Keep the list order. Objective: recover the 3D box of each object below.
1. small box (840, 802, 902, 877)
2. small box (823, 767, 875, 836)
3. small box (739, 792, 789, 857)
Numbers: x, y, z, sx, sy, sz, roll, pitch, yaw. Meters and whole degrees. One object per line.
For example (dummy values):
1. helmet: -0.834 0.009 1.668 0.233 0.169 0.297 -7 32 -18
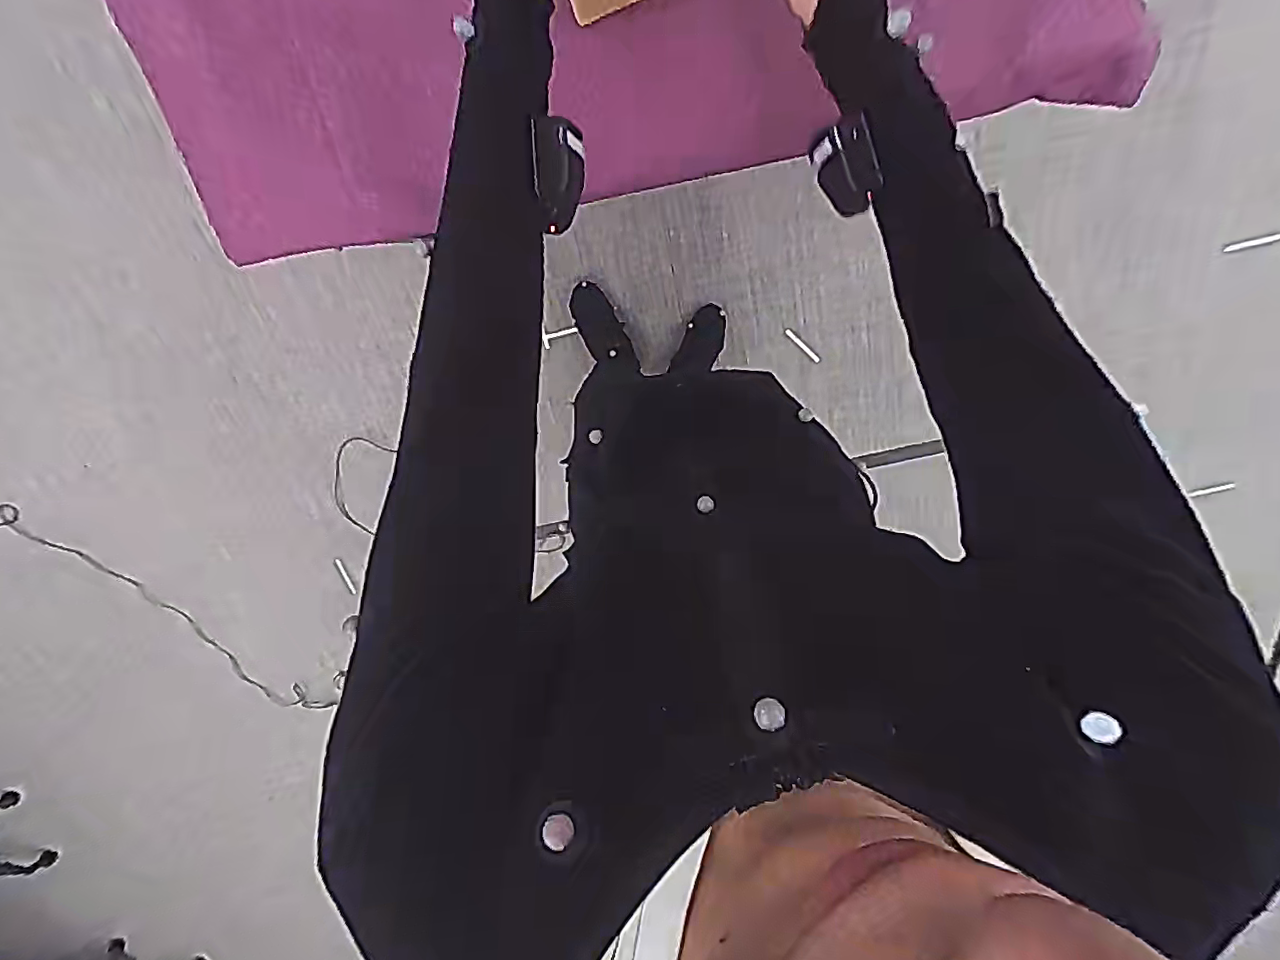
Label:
1. small box: 0.916 1.425 2.149 0.168 0.176 0.179 -18 113 3
2. small box: 0.900 1.365 2.300 0.168 0.176 0.179 -19 114 4
3. small box: 0.536 1.476 2.325 0.179 0.176 0.168 -12 114 3
